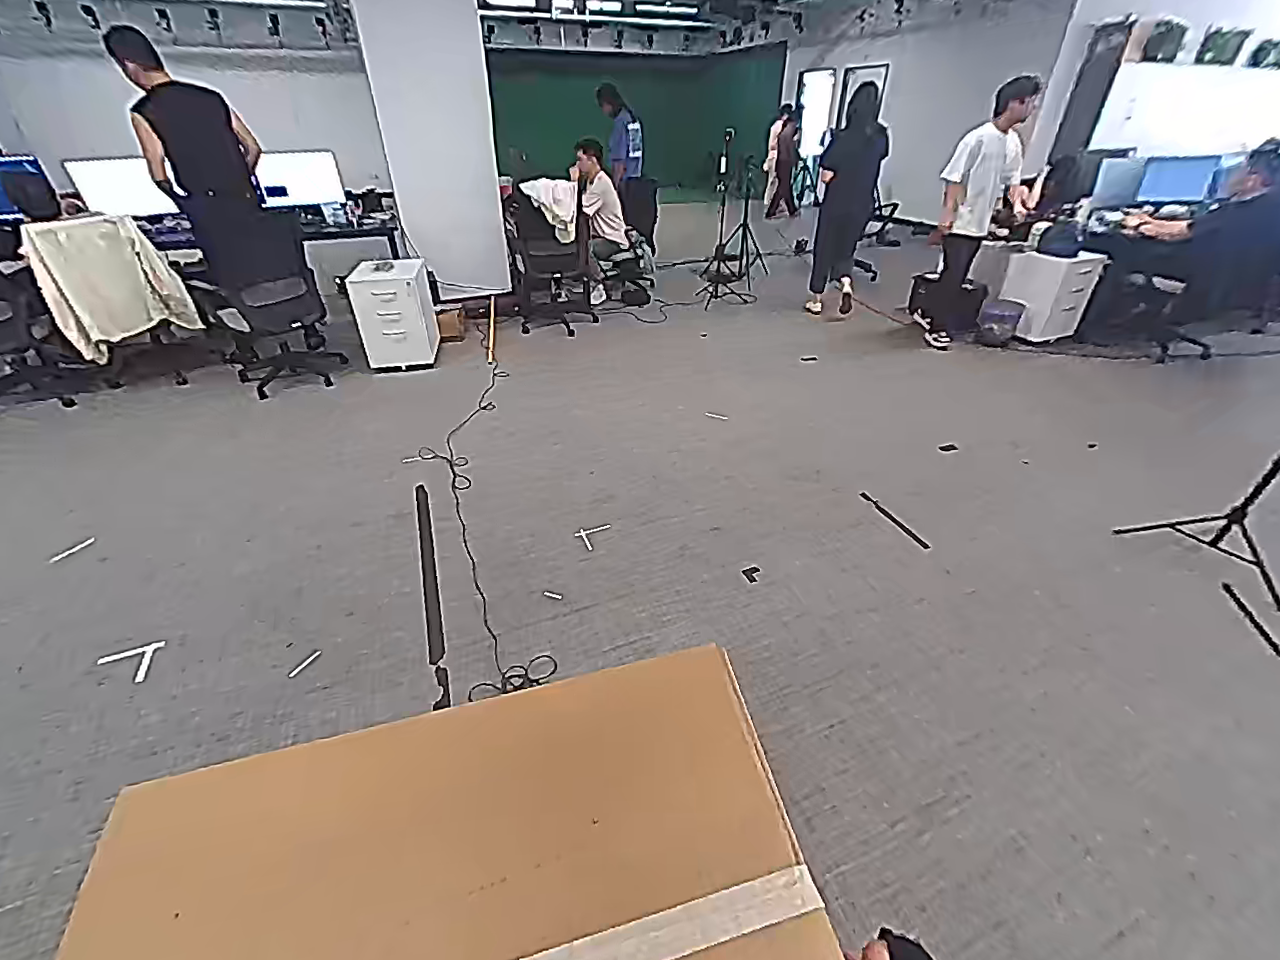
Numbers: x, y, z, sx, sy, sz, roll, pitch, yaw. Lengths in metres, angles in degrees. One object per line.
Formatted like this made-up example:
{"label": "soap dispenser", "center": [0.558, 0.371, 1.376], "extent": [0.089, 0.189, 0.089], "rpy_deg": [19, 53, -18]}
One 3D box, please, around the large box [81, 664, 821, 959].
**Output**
{"label": "large box", "center": [-0.095, 0.386, 0.388], "extent": [0.408, 0.320, 0.320], "rpy_deg": [-11, 46, -9]}
